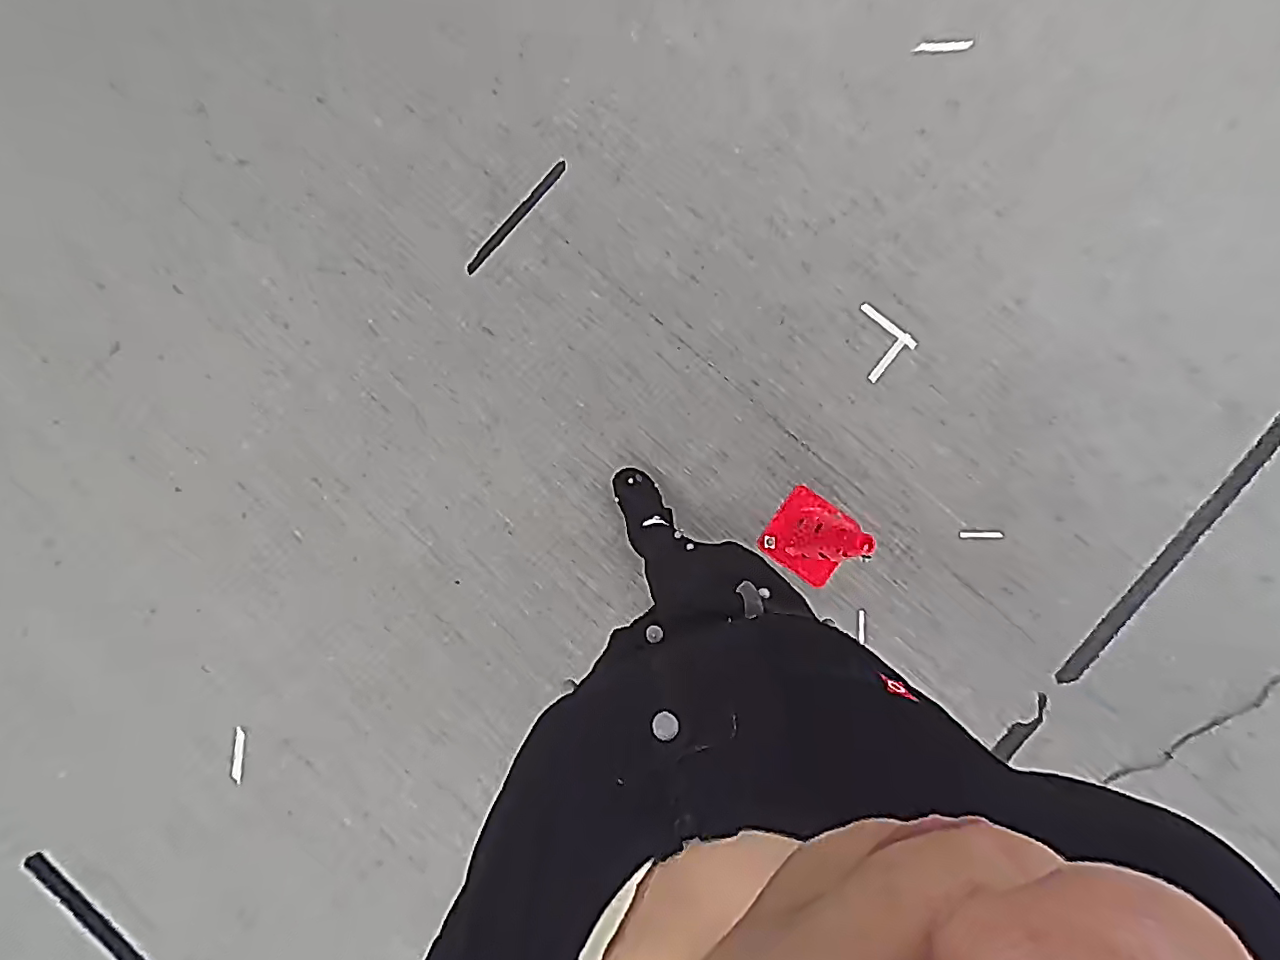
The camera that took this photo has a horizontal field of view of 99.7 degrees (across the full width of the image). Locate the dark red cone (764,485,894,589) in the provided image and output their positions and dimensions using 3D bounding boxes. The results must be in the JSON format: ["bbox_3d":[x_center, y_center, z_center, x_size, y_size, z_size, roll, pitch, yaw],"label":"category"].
[{"bbox_3d":[0.431,0.127,1.160,0.201,0.394,0.202,34,87,1],"label":"dark red cone"}]
